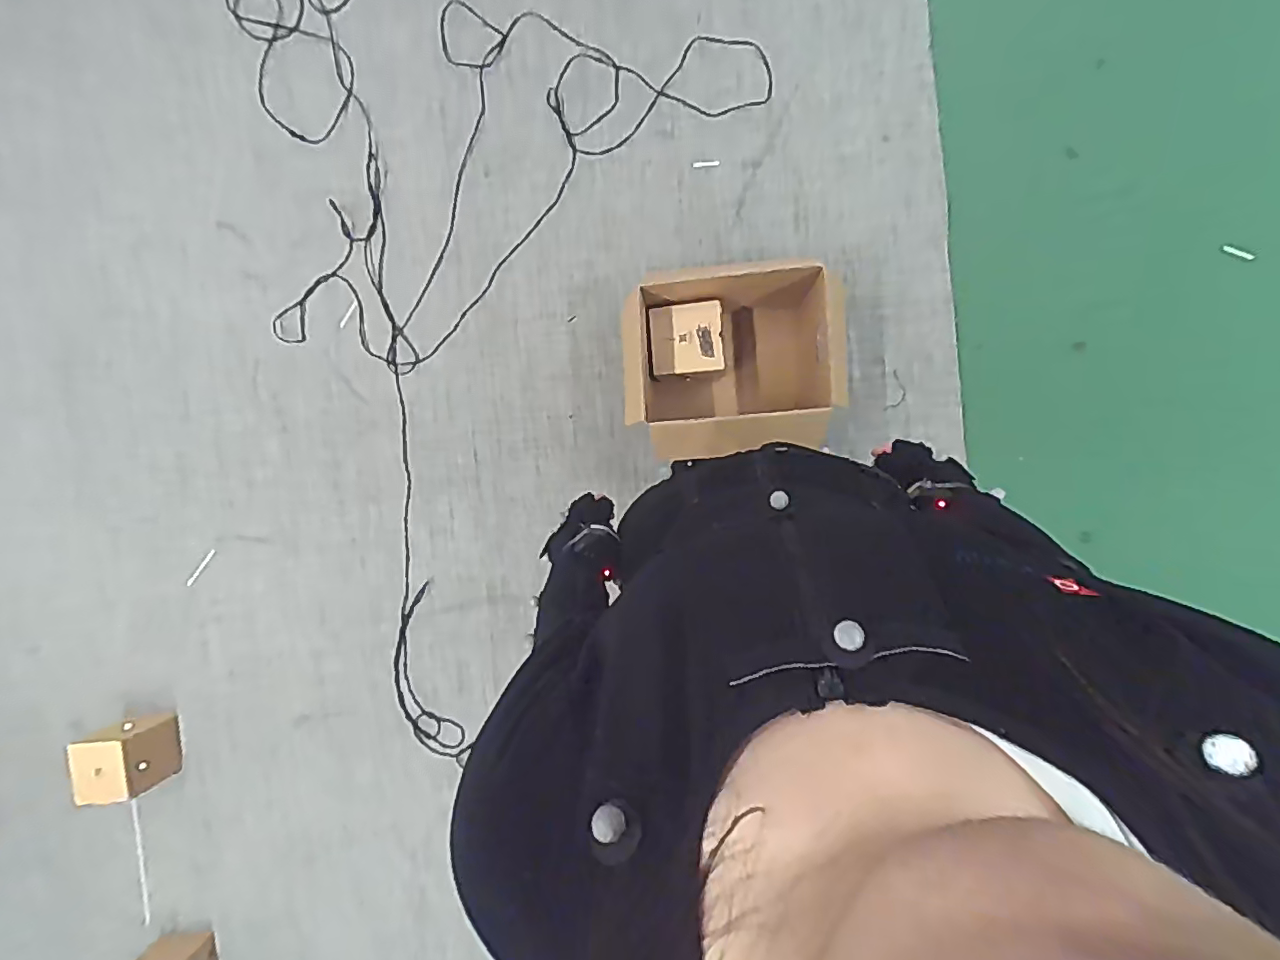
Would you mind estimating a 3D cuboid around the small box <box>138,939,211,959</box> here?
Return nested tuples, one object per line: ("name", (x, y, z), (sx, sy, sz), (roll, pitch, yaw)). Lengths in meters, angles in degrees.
("small box", (-1.396, 1.484, 1.570), (0.179, 0.176, 0.168), (-6, 92, 5))

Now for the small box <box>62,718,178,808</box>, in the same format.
("small box", (-1.487, 0.805, 1.556), (0.168, 0.176, 0.179), (-6, 92, 4))
